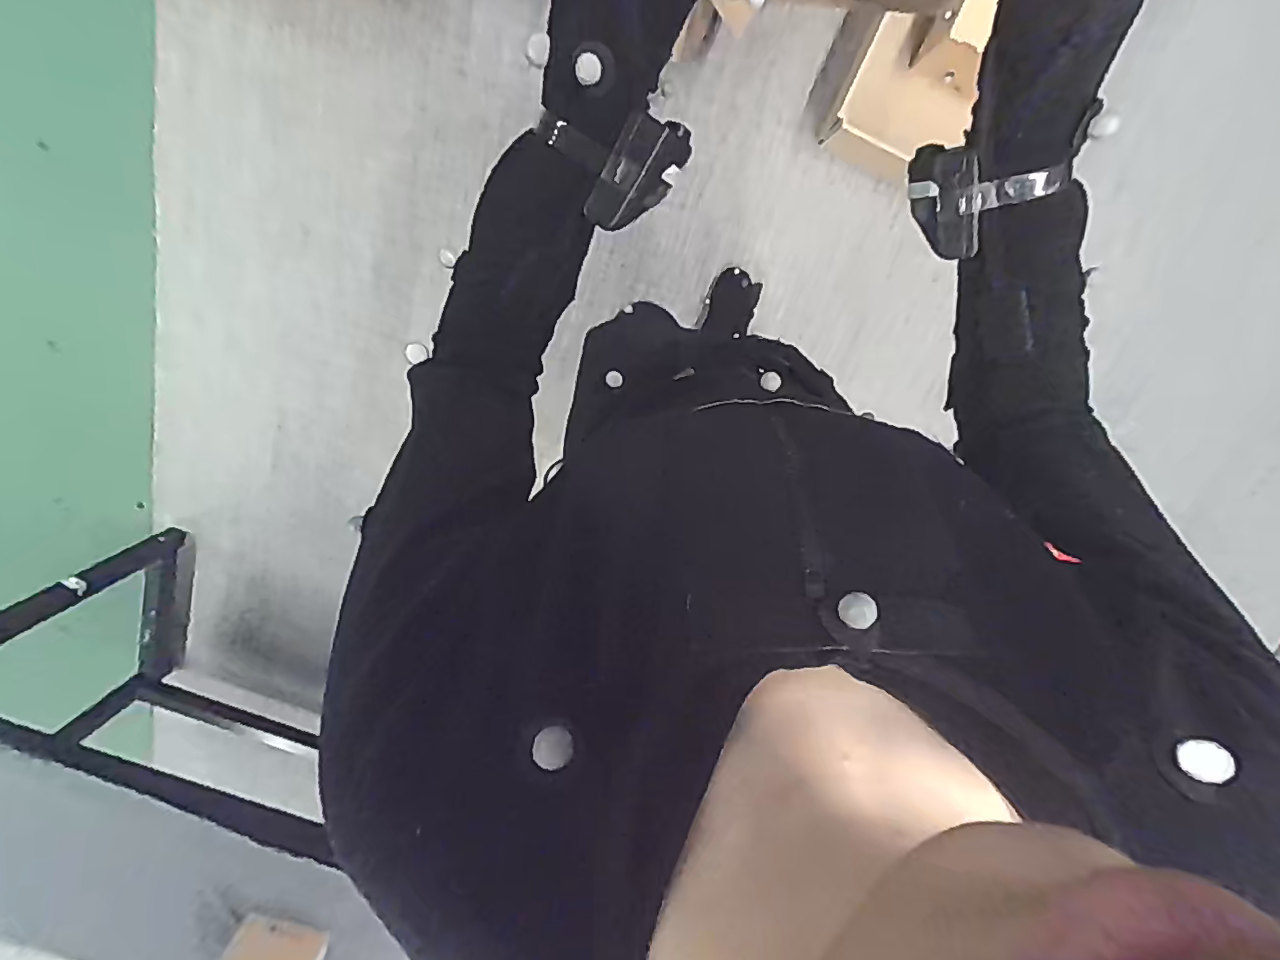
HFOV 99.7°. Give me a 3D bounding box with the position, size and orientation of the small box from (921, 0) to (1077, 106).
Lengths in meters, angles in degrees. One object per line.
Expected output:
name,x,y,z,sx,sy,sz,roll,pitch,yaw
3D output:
small box,0.672,-0.856,1.020,0.168,0.176,0.179,22,109,-5

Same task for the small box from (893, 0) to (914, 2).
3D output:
small box,0.127,-0.393,0.278,0.168,0.176,0.179,5,108,1
